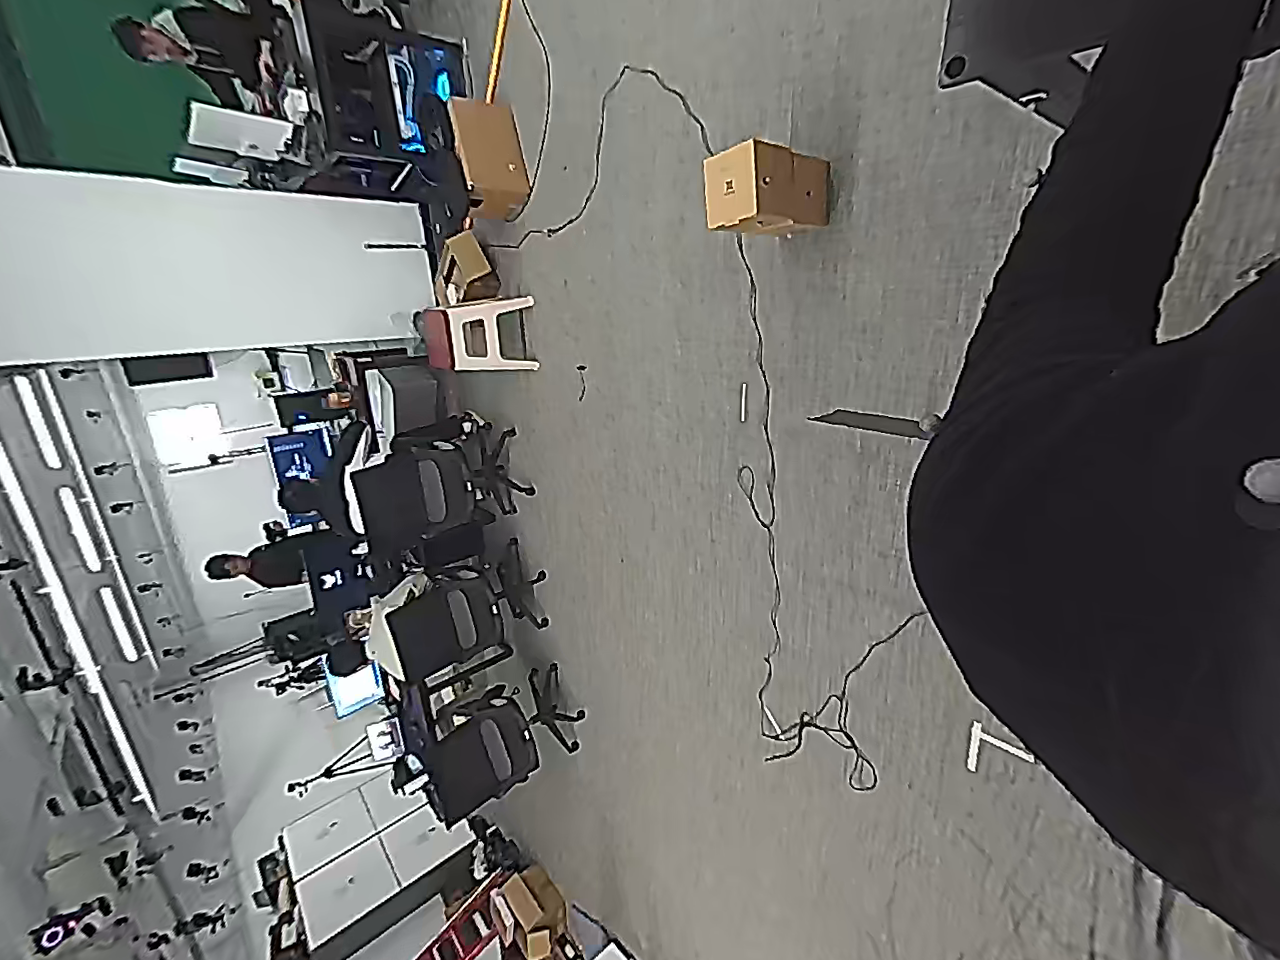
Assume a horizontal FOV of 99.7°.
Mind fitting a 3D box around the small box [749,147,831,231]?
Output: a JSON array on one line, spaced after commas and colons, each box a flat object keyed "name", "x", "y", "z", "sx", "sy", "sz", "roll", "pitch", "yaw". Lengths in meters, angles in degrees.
[{"name": "small box", "x": 0.425, "y": -0.814, "z": 1.532, "sx": 0.168, "sy": 0.176, "sz": 0.179, "roll": 15, "pitch": 116, "yaw": 48}]

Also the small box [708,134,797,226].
[{"name": "small box", "x": 0.301, "y": -0.782, "z": 1.433, "sx": 0.168, "sy": 0.176, "sz": 0.179, "roll": 10, "pitch": 110, "yaw": 48}]
